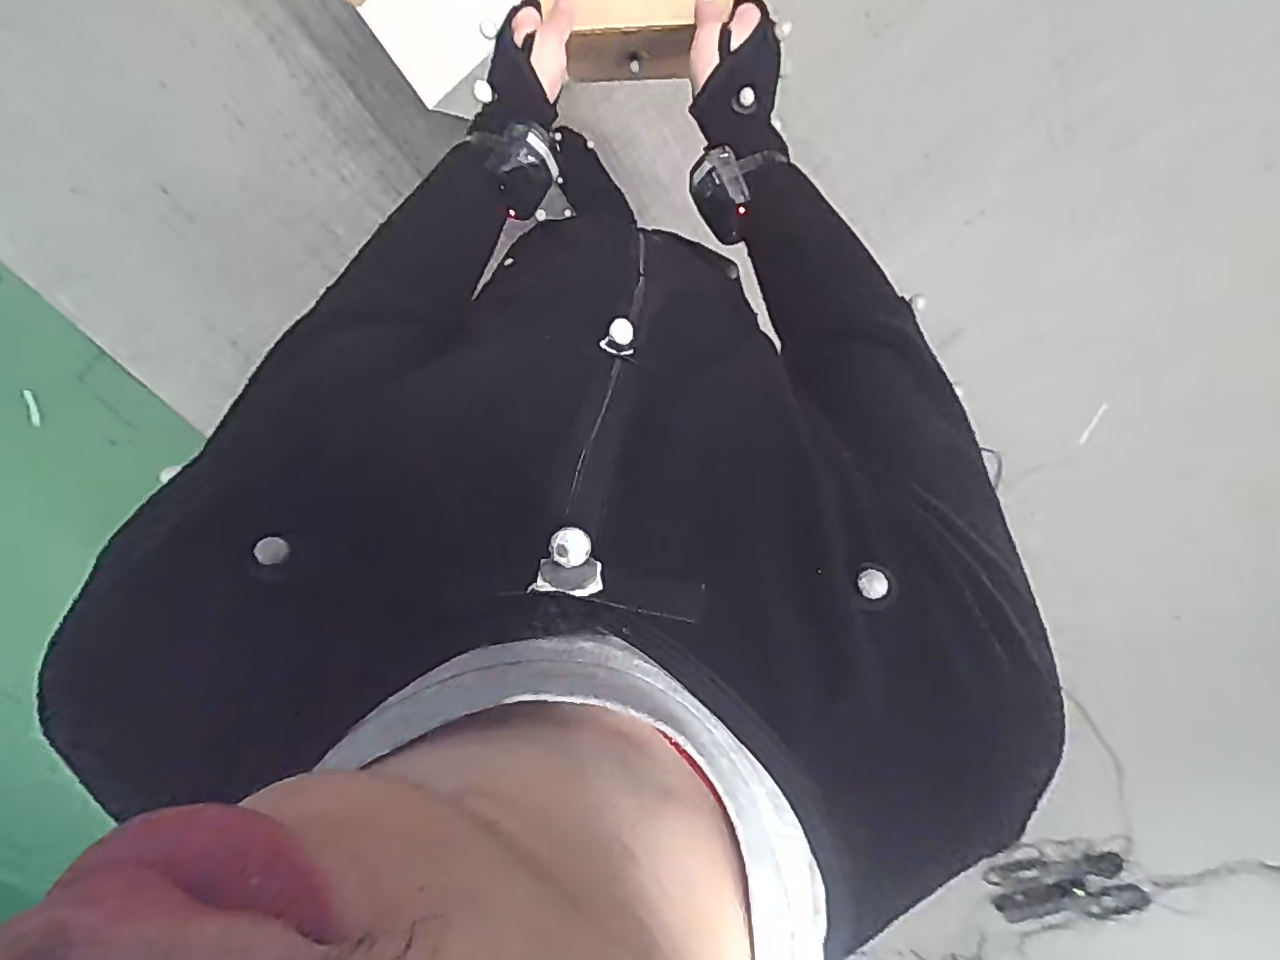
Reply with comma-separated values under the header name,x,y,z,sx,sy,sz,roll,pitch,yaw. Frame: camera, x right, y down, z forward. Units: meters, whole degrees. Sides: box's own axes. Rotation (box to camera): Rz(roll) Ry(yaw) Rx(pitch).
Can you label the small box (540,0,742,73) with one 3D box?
name,x,y,z,sx,sy,sz,roll,pitch,yaw
small box,0.002,-0.509,0.510,0.179,0.176,0.168,0,112,3
